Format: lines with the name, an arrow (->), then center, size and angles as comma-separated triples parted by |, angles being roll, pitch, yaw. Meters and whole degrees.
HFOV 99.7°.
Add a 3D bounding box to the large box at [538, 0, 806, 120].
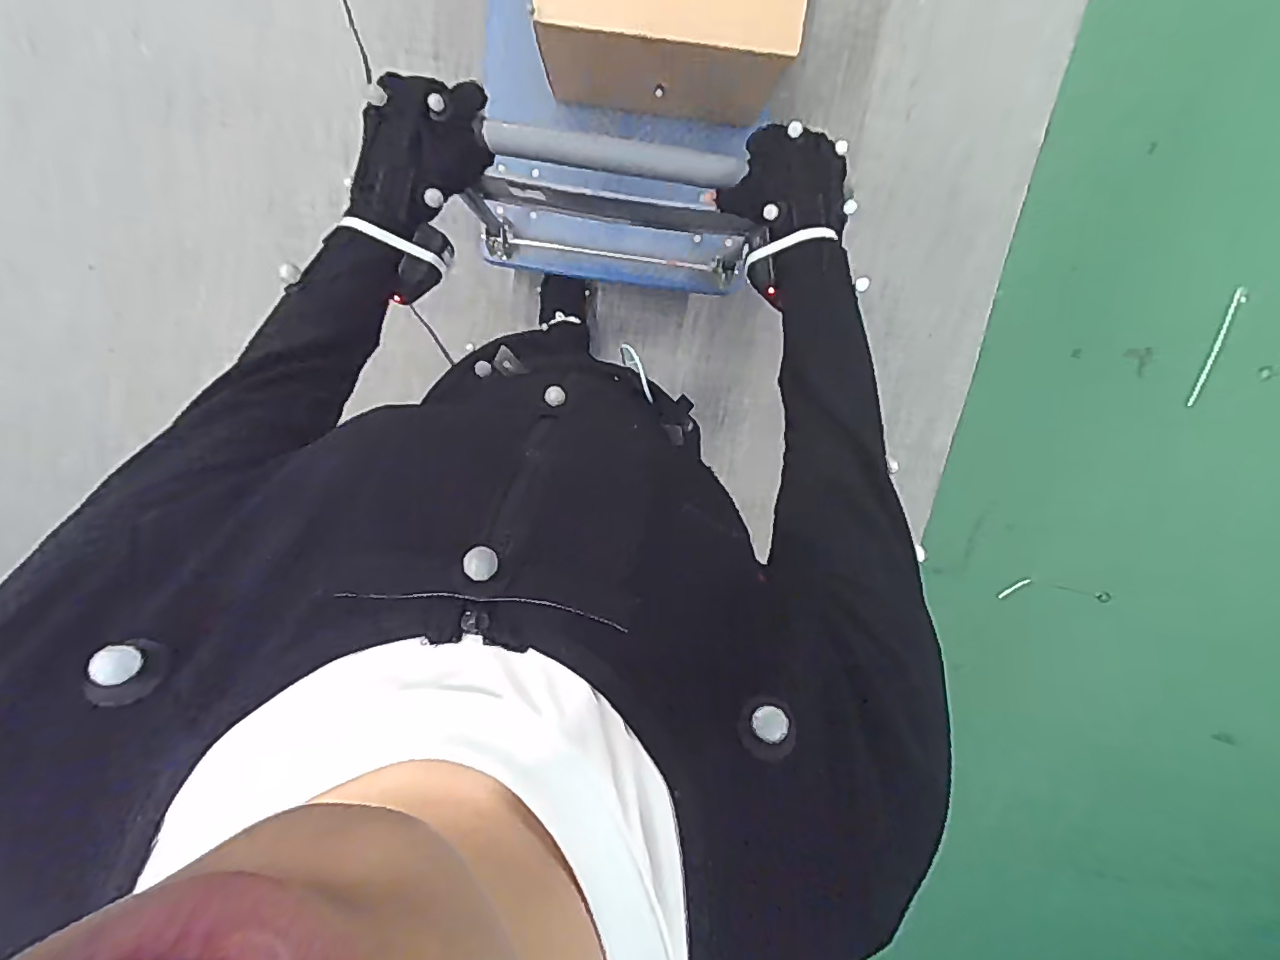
large box -> 0.058, -0.854, 0.920 | 0.408, 0.320, 0.320 | 6, 106, -3
